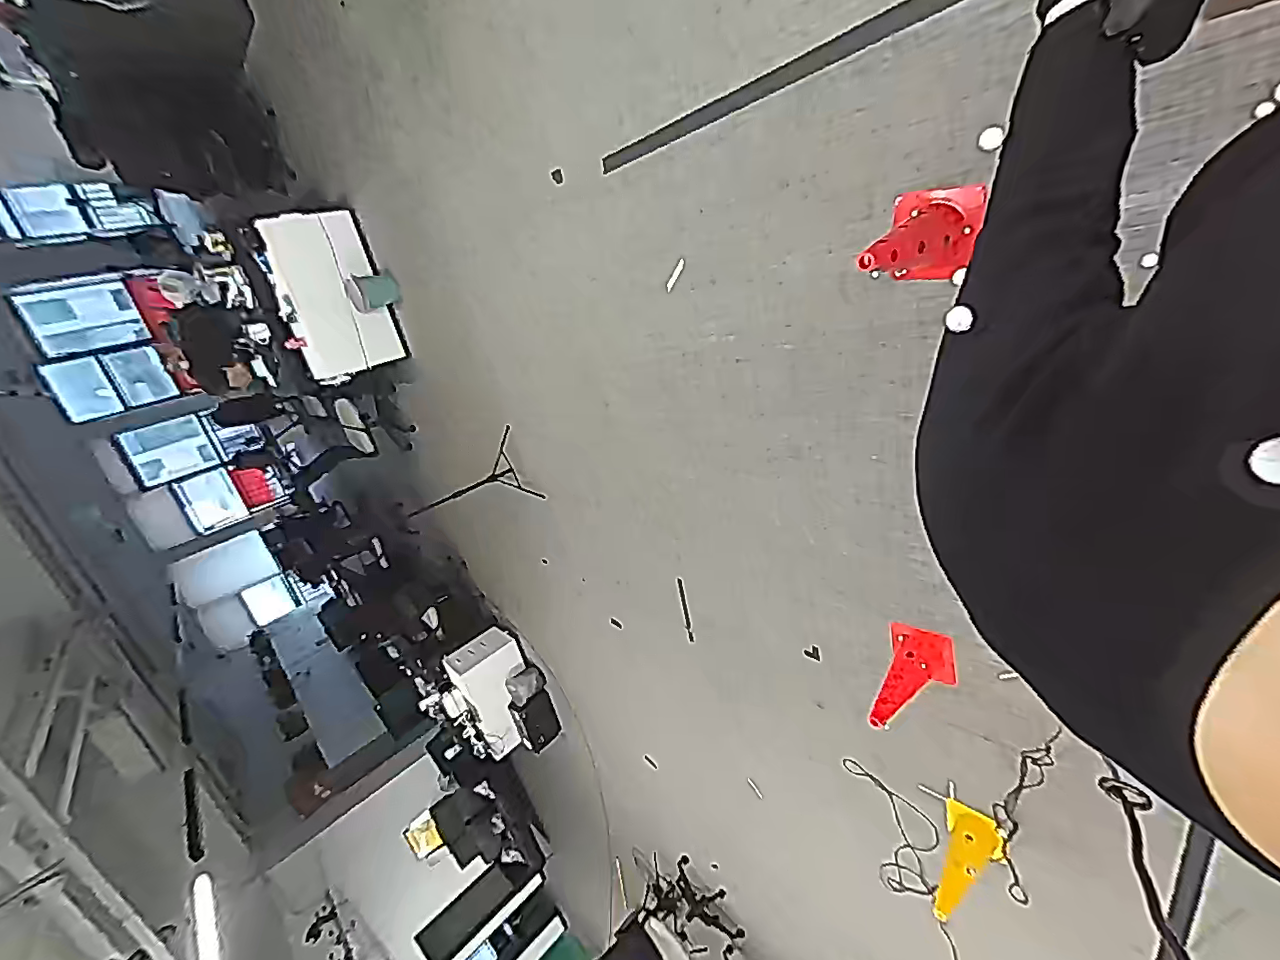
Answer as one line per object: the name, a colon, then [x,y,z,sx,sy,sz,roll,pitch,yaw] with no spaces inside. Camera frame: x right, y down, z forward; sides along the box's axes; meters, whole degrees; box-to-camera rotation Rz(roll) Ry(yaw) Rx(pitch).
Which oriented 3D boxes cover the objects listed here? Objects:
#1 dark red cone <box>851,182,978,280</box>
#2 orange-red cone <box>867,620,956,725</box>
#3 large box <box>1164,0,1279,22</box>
dark red cone: [0.564,-0.510,1.173,0.201,0.394,0.202,17,127,43]
orange-red cone: [0.824,0.645,1.712,0.198,0.360,0.199,9,122,49]
large box: [0.562,-0.511,0.269,0.408,0.320,0.320,15,126,47]
